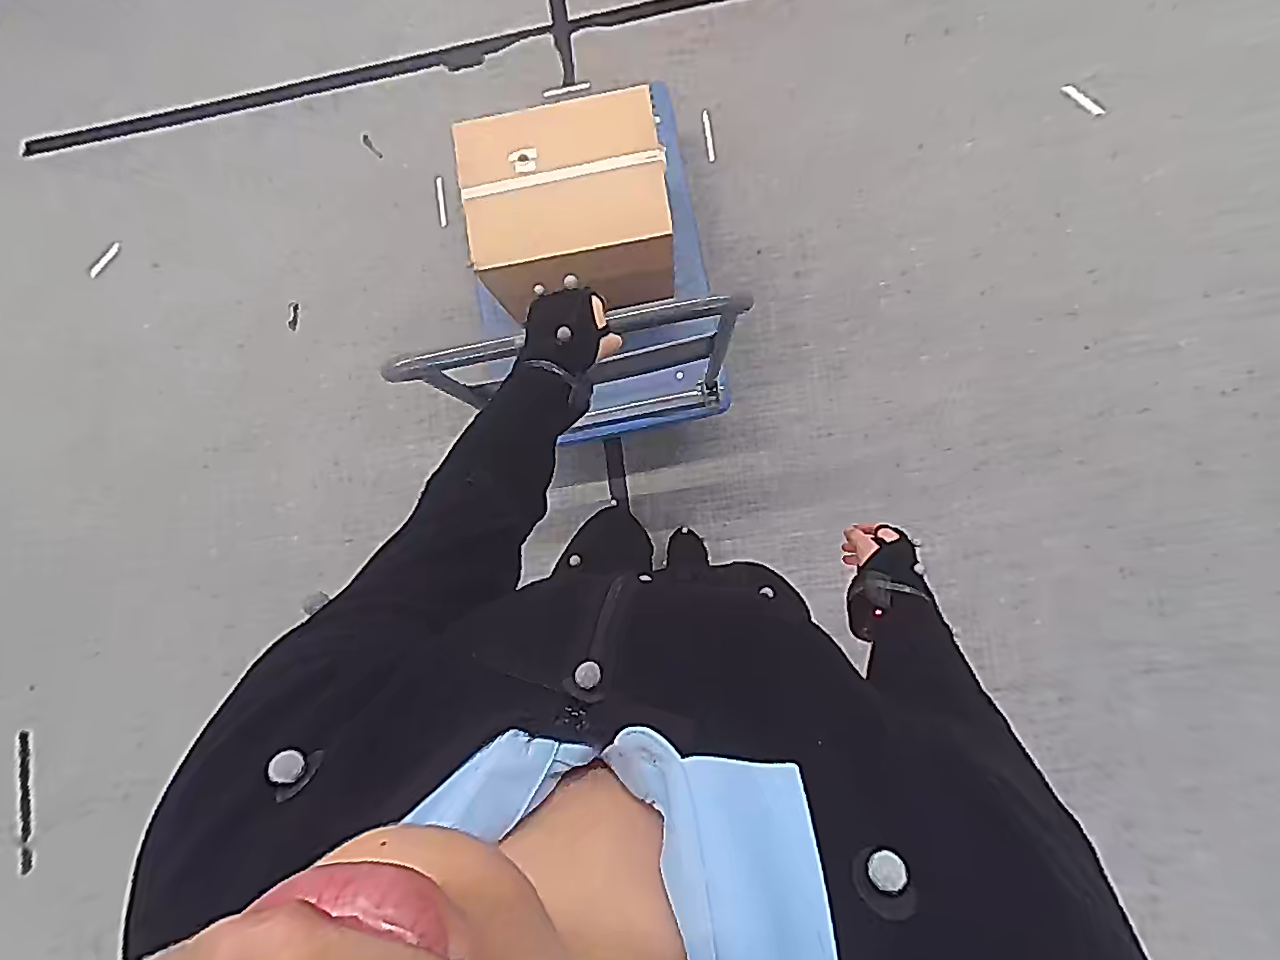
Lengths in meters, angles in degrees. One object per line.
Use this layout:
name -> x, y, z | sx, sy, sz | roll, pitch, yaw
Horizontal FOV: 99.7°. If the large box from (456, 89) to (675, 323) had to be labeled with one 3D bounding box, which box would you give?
large box -> -0.144, -0.589, 1.231 | 0.408, 0.320, 0.320 | -10, 85, 4
